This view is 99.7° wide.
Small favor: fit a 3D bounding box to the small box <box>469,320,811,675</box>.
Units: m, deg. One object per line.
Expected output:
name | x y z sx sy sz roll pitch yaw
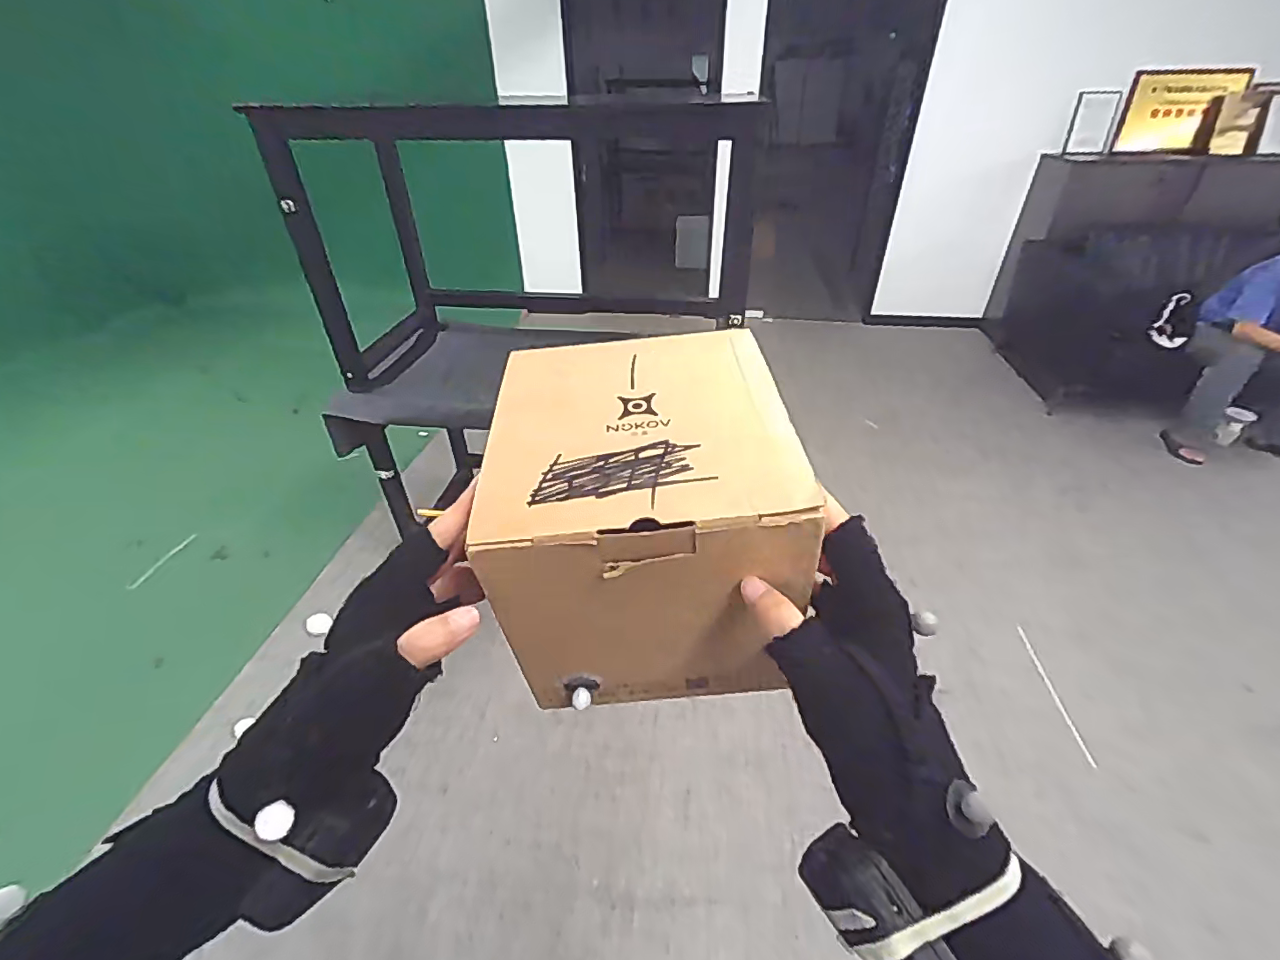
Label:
small box | 0.004 0.015 0.364 0.168 0.176 0.179 -5 41 1
